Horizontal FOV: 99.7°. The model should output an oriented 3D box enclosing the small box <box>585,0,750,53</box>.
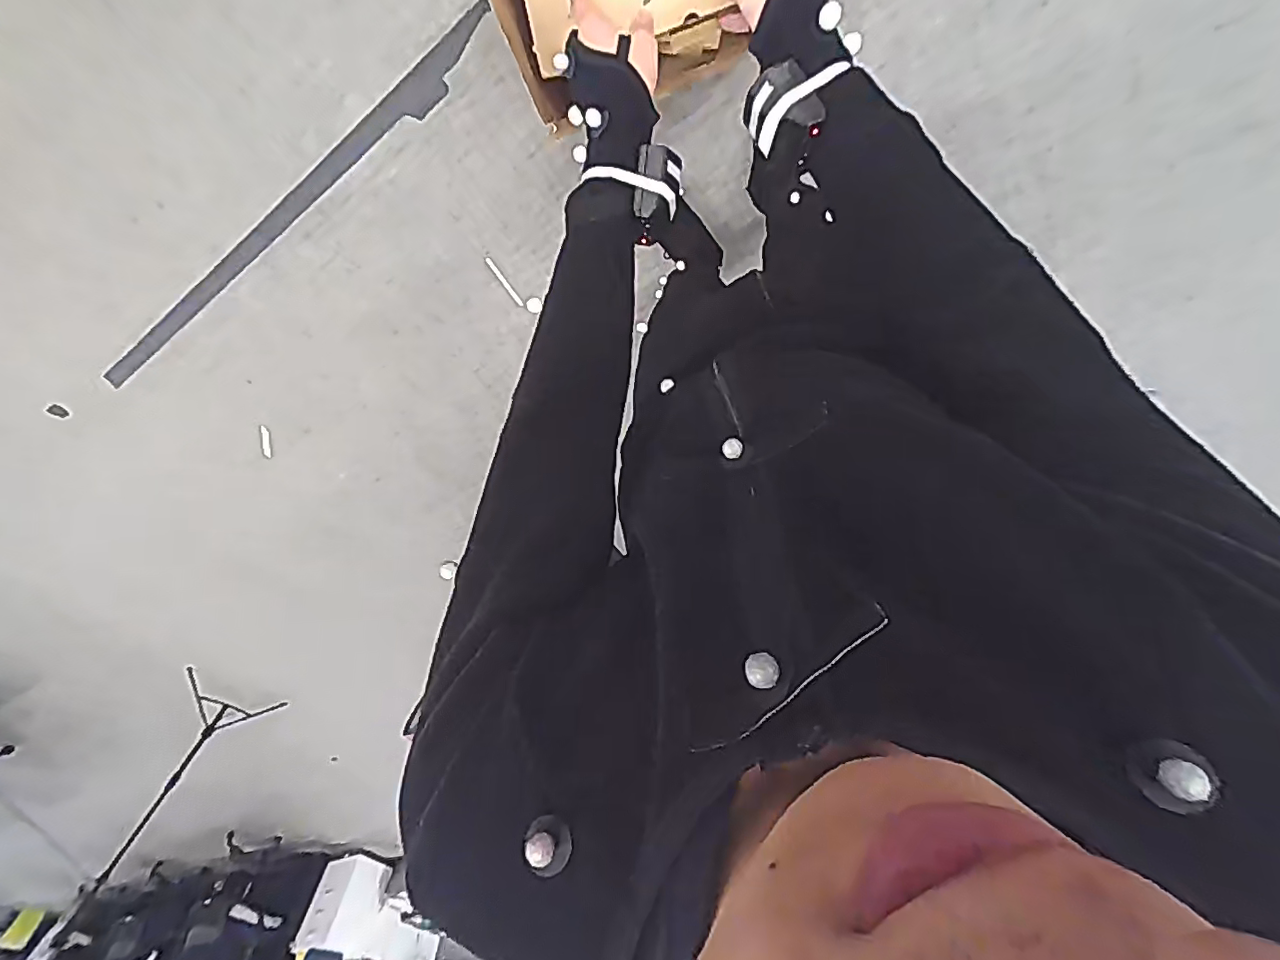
[{"bbox_3d":[0.016,-0.516,0.481,0.168,0.176,0.179,-13,130,11],"label":"small box"}]
